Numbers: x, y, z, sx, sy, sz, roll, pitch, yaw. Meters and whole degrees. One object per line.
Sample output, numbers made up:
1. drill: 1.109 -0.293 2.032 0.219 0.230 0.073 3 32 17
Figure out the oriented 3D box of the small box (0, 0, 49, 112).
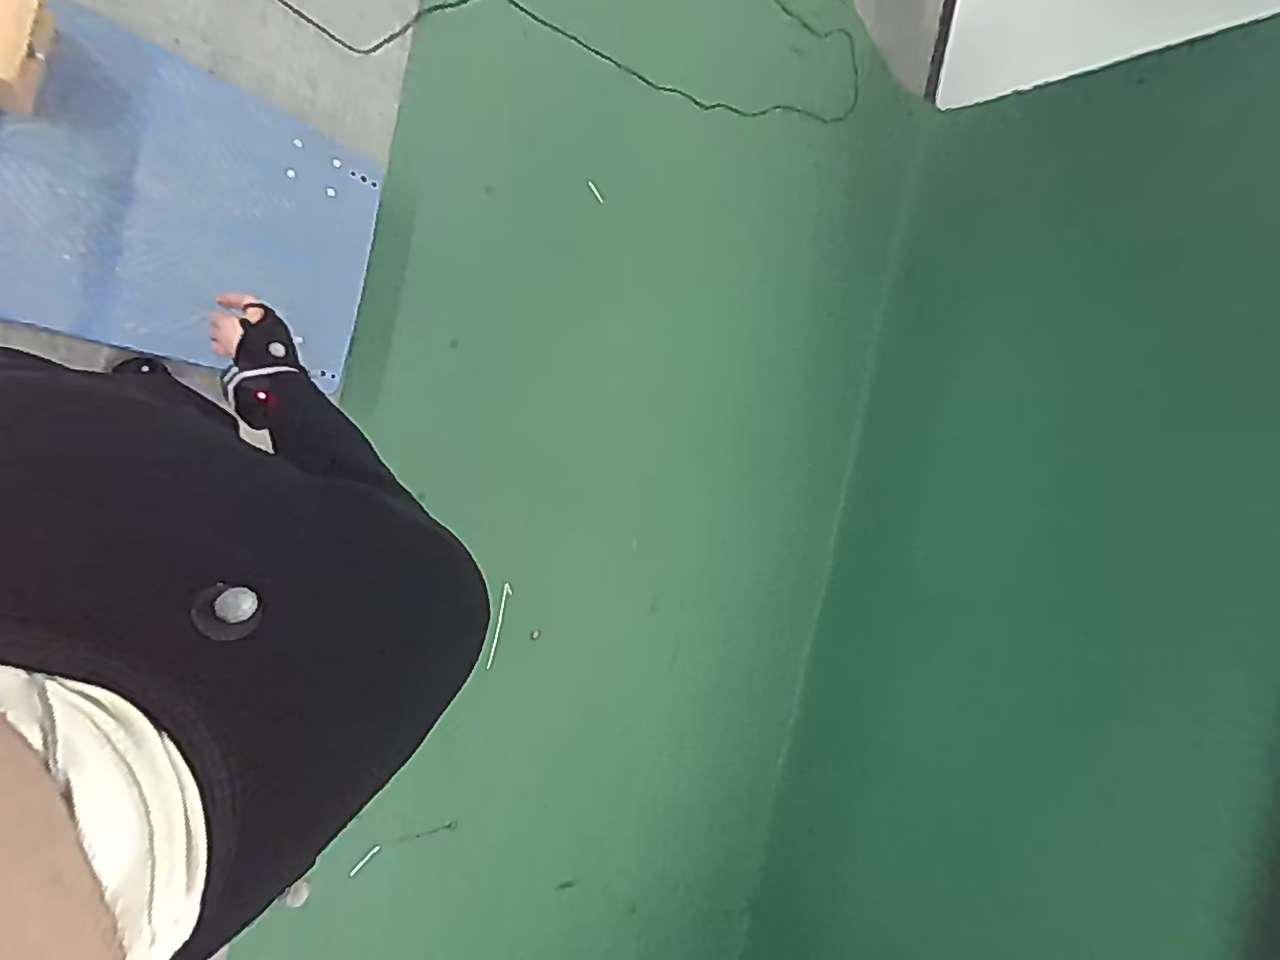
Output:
1. small box: -1.041 -0.710 0.822 0.168 0.176 0.179 15 88 -45
